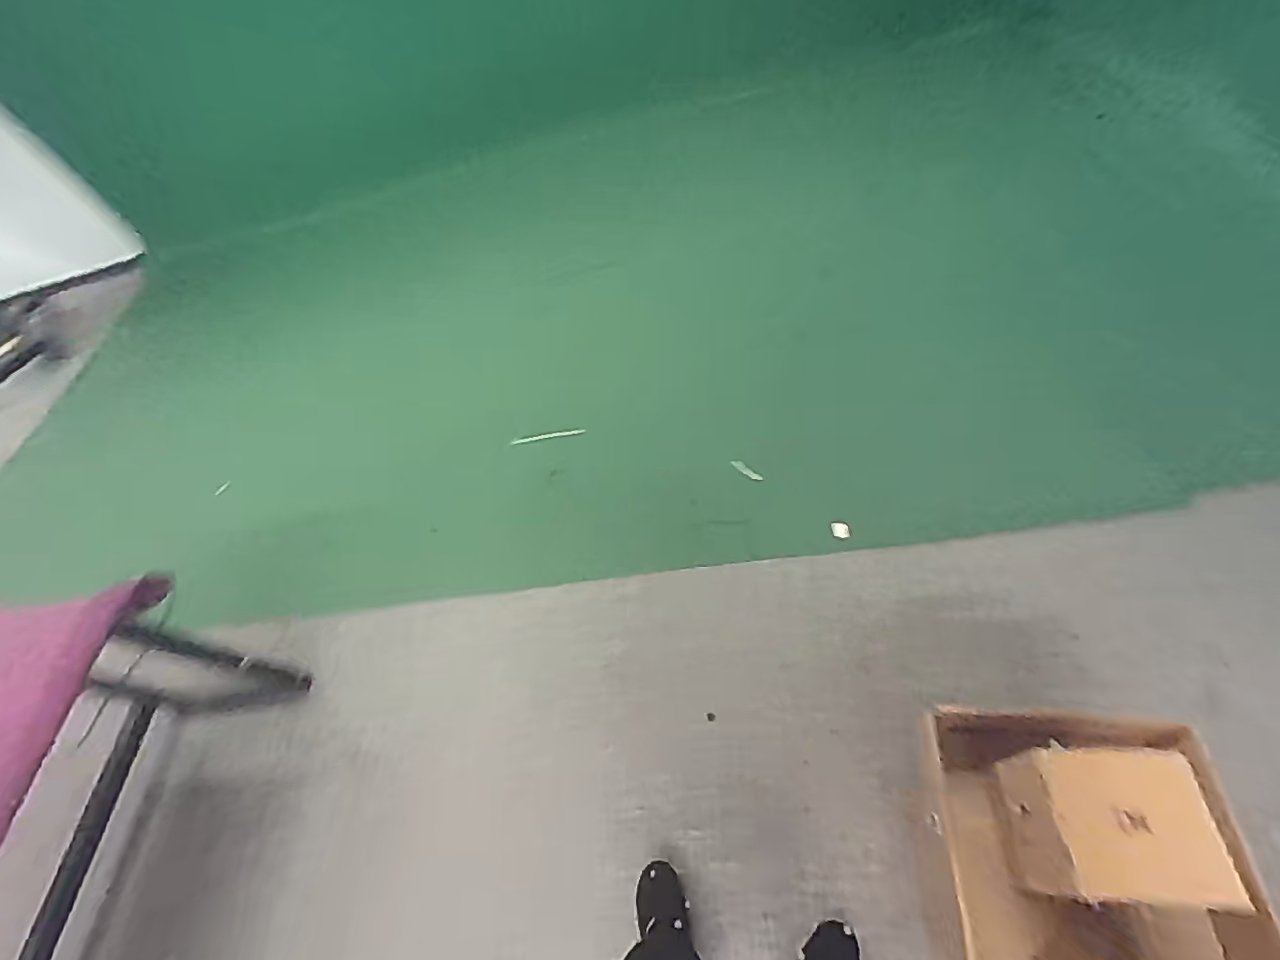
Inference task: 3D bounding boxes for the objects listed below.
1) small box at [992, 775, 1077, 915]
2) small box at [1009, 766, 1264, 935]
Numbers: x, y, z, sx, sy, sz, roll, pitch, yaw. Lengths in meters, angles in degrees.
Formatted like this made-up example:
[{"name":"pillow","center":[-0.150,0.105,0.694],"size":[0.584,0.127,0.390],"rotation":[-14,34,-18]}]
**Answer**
[{"name":"small box","center":[0.692,0.581,0.860],"size":[0.168,0.176,0.179],"rotation":[-4,57,13]},{"name":"small box","center":[0.643,0.490,0.733],"size":[0.179,0.176,0.168],"rotation":[-5,56,14]}]
